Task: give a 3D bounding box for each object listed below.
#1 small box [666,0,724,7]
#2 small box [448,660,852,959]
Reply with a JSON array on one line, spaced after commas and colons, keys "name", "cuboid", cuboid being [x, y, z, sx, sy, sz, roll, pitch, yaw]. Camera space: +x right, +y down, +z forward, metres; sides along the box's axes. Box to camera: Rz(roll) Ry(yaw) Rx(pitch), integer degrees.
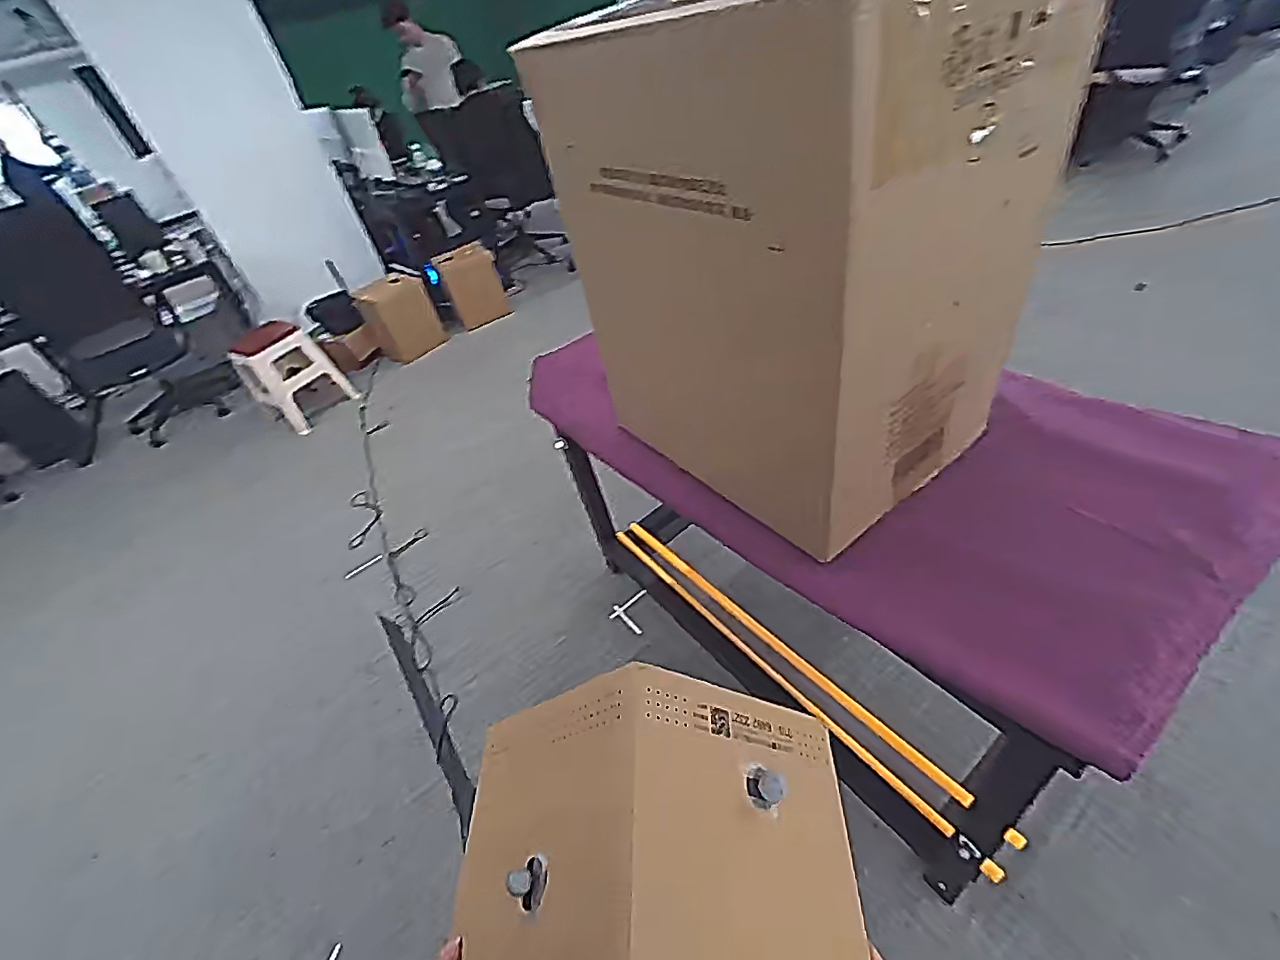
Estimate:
[{"name": "small box", "cuboid": [0.128, -0.693, 0.644, 0.168, 0.176, 0.179, -36, 47, -20]}, {"name": "small box", "cuboid": [0.008, 0.231, 0.327, 0.179, 0.168, 0.176, -38, 36, 37]}]
